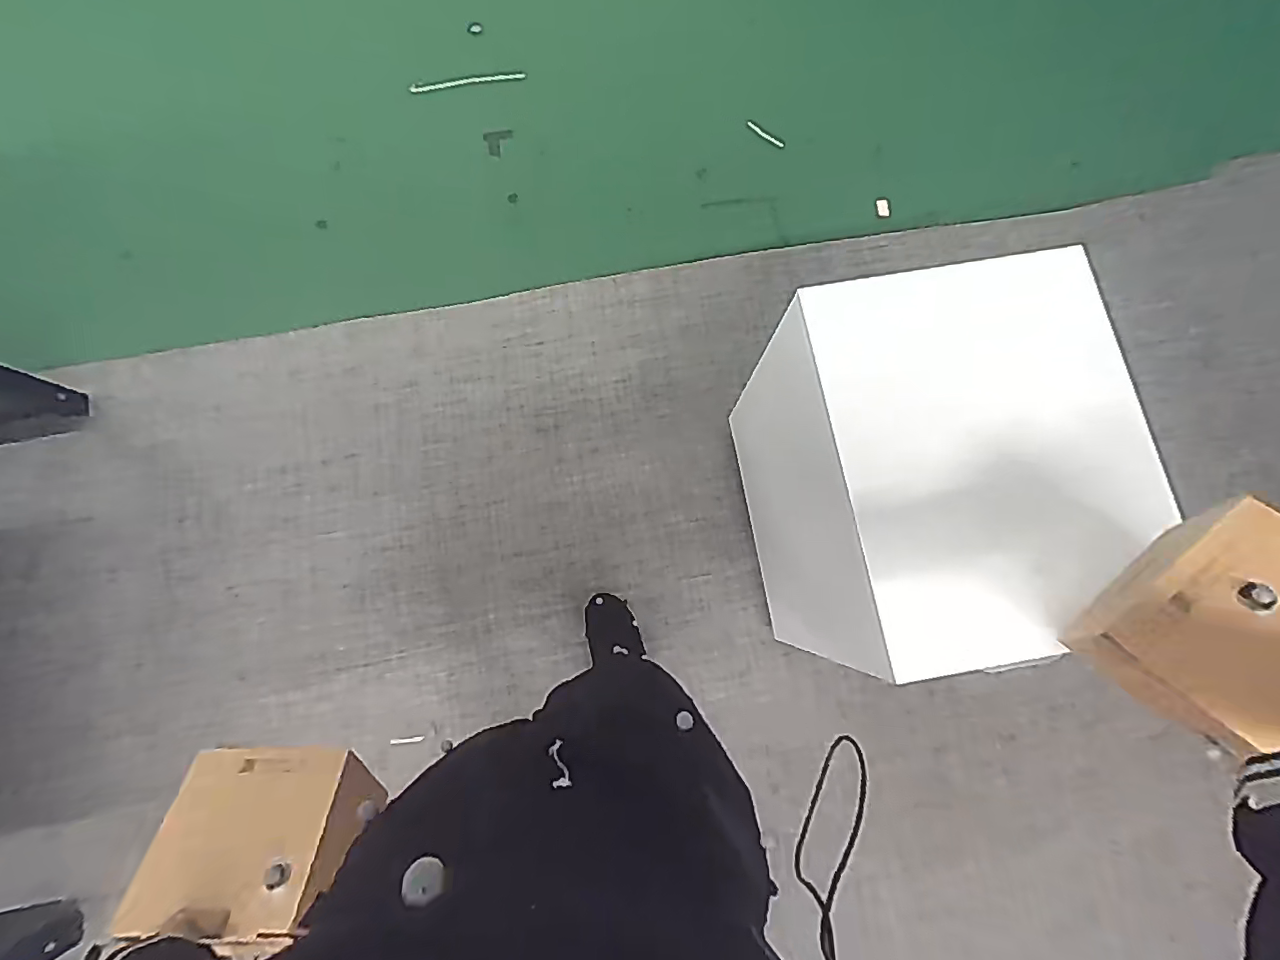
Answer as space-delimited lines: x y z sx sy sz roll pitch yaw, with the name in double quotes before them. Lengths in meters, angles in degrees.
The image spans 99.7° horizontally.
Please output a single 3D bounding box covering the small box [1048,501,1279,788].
"small box" 0.524 0.141 0.492 0.168 0.179 0.176 -46 62 6
